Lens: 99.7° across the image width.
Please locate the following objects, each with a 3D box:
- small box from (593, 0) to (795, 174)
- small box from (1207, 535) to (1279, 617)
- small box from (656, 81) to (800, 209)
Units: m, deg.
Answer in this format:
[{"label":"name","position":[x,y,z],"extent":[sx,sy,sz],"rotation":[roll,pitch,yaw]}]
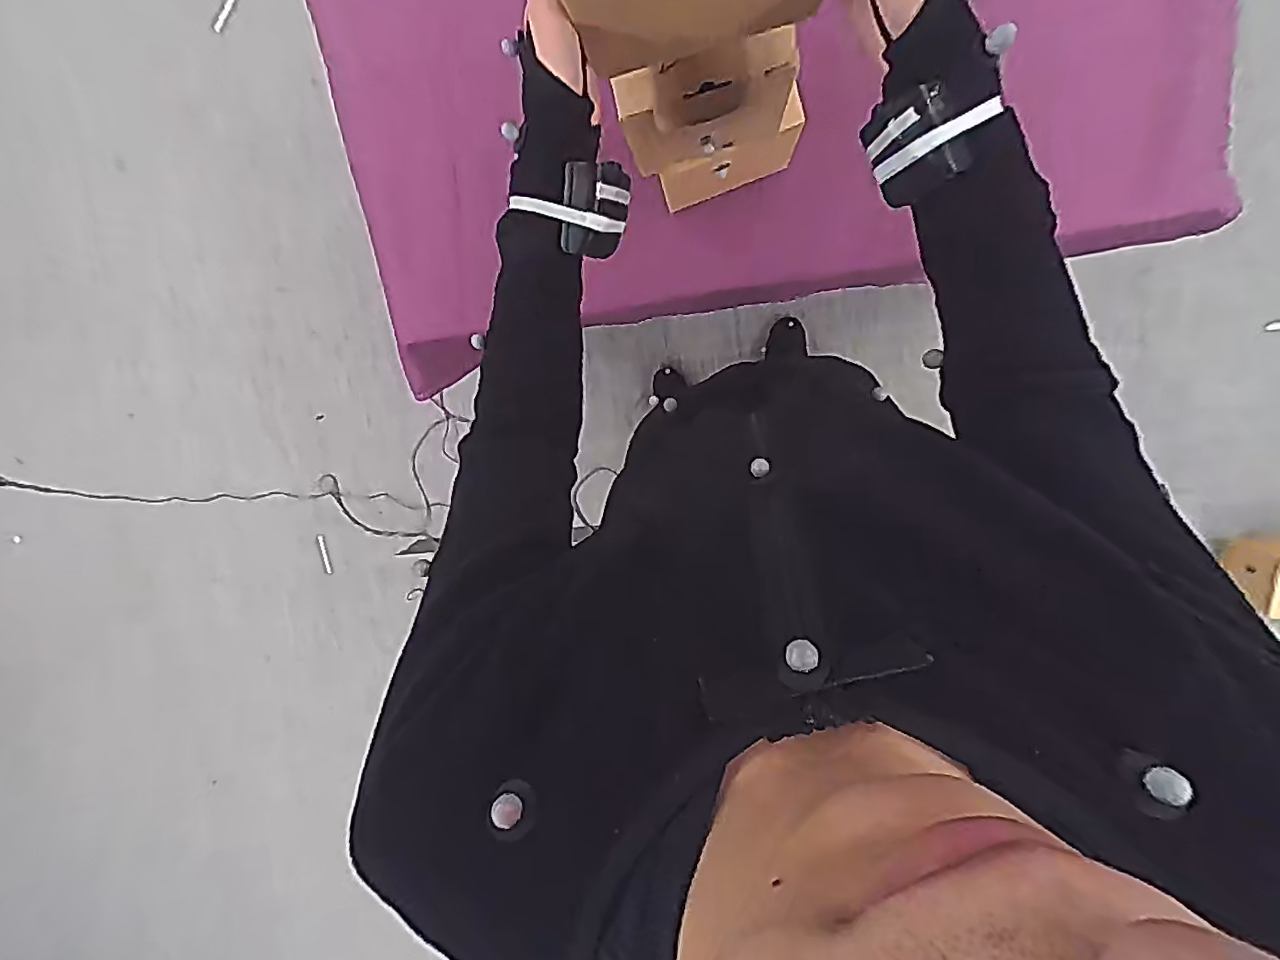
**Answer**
[{"label":"small box","position":[0.048,-0.444,0.543],"extent":[0.168,0.176,0.179],"rotation":[-11,102,10]},{"label":"small box","position":[1.686,0.251,1.440],"extent":[0.179,0.176,0.168],"rotation":[-3,103,7]},{"label":"small box","position":[0.090,-0.479,0.701],"extent":[0.179,0.176,0.168],"rotation":[-17,101,10]}]
